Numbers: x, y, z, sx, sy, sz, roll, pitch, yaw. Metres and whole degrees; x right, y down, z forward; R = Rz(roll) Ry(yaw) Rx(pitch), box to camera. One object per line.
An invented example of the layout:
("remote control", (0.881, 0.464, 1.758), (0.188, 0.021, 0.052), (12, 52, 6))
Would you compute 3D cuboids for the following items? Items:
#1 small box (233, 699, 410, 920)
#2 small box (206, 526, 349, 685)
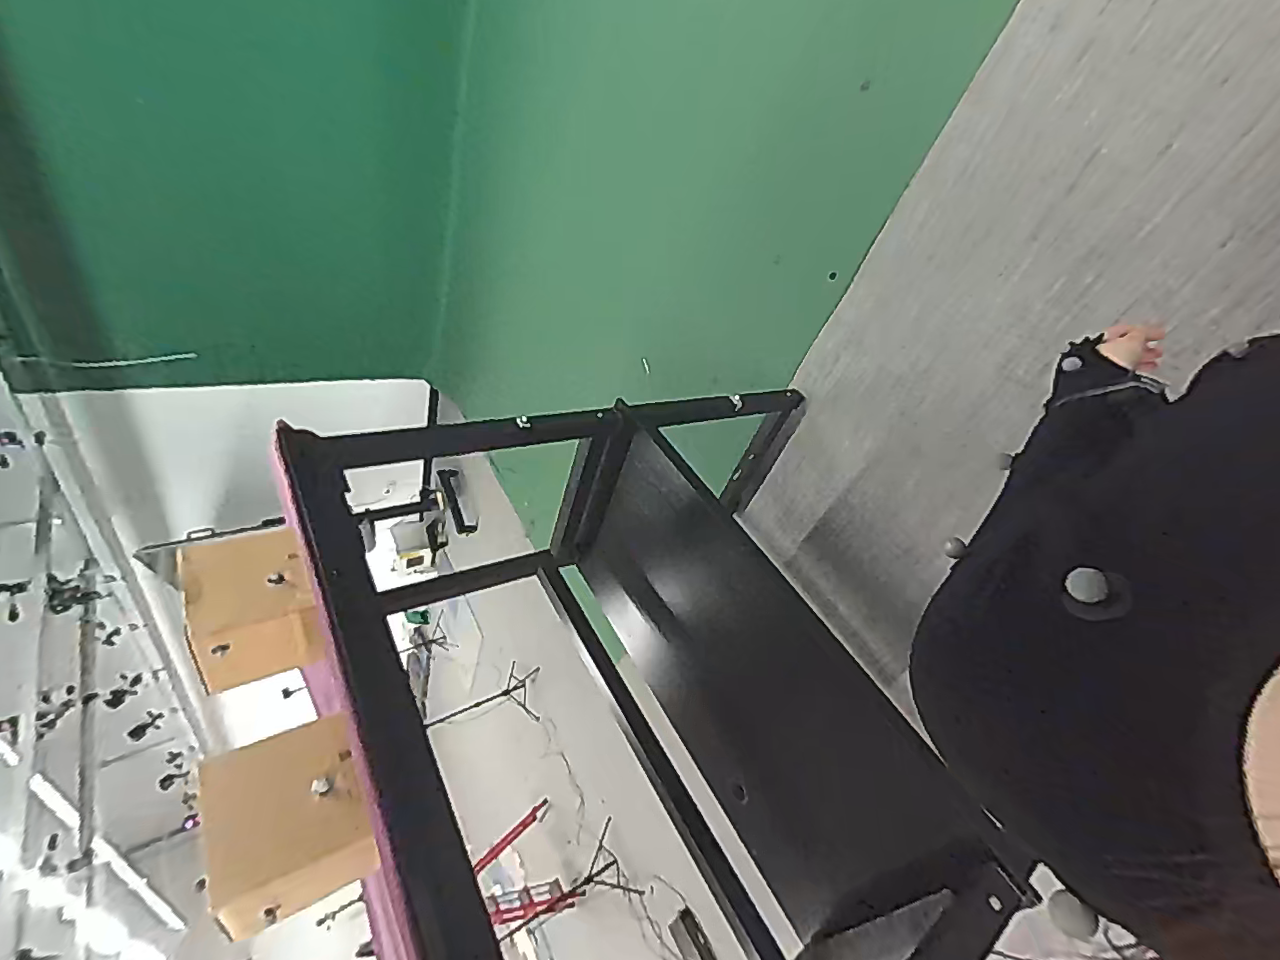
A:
("small box", (-0.413, 0.425, 0.713), (0.168, 0.176, 0.179), (52, 136, 31))
("small box", (-0.591, 0.201, 0.894), (0.168, 0.176, 0.179), (53, 137, 30))
